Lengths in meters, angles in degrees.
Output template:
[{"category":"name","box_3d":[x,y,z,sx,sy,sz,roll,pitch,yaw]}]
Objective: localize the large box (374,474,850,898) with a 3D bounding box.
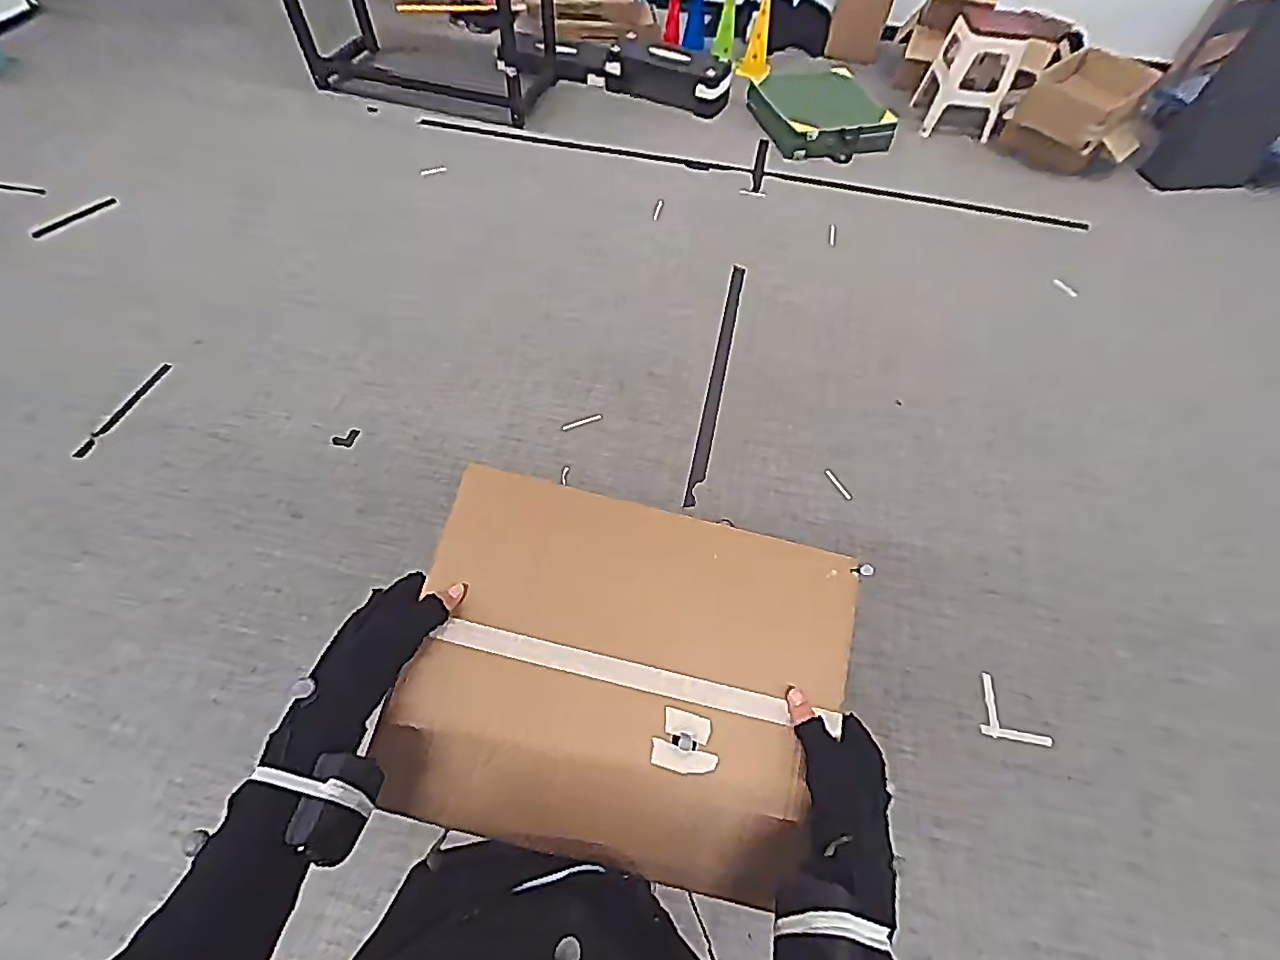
[{"category":"large box","box_3d":[-0.019,0.219,0.656,0.408,0.320,0.320,14,75,1]}]
